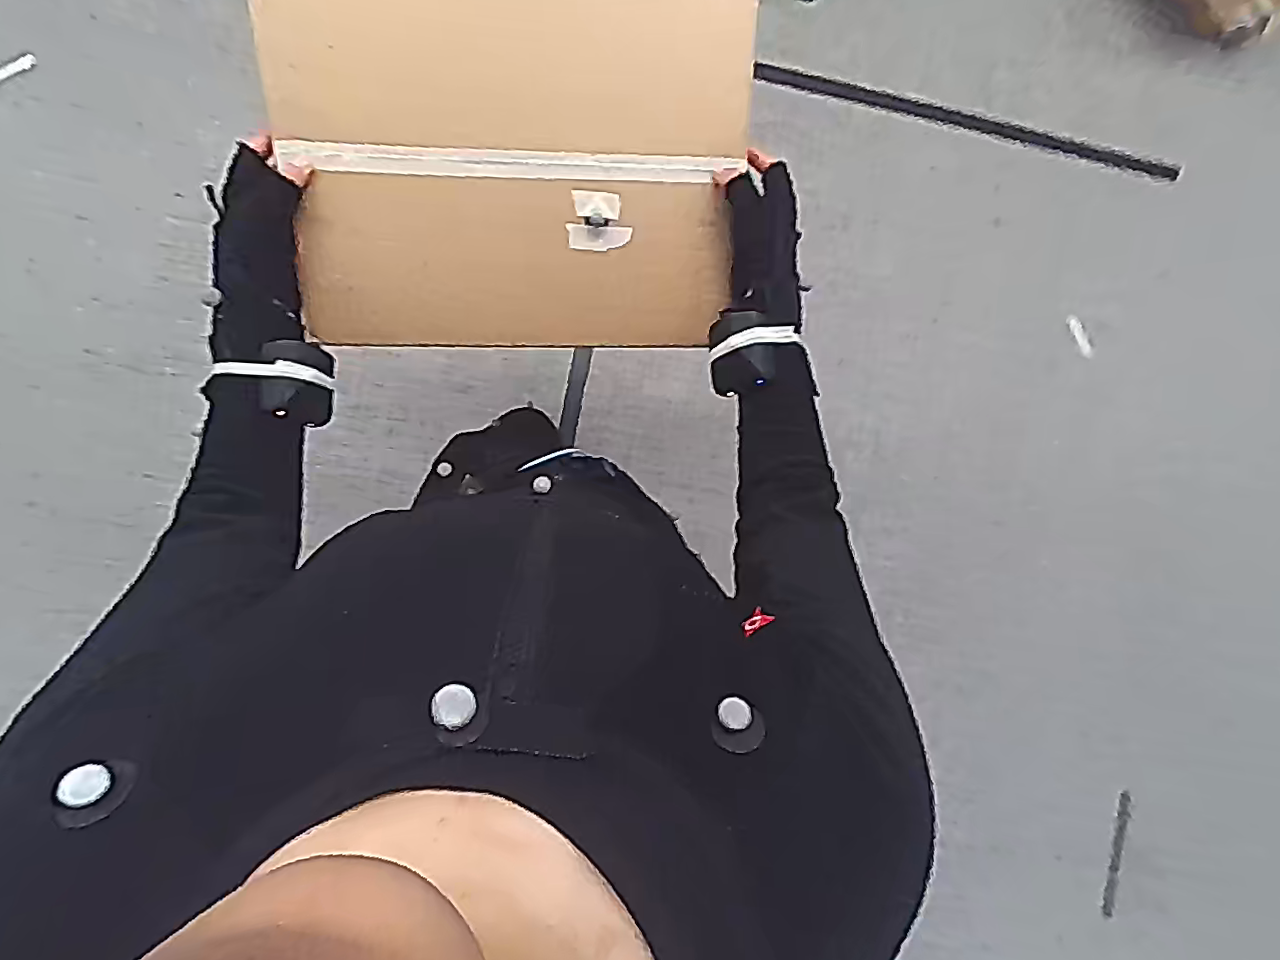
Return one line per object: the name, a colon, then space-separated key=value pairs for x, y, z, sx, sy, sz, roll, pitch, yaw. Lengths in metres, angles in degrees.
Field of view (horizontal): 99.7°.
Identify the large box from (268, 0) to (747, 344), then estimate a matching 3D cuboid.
large box: x=-0.123 y=-0.333 z=0.633 sx=0.408 sy=0.320 sz=0.320 roll=-2 pitch=110 yaw=-7
